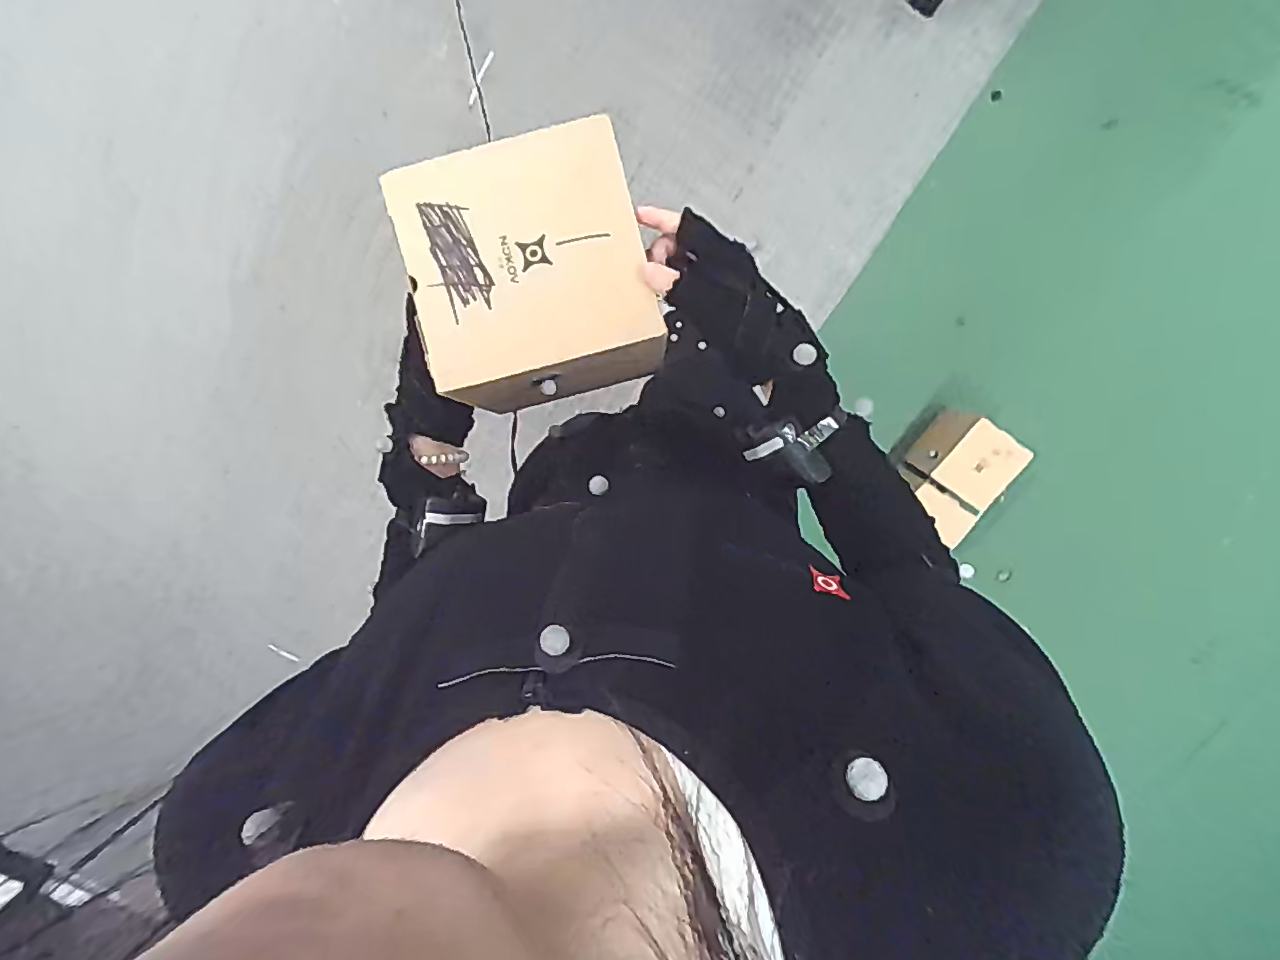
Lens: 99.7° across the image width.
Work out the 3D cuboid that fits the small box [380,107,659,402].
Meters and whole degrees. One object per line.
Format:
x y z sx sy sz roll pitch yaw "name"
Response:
-0.087 -0.173 0.473 0.179 0.176 0.168 -15 92 0 "small box"
